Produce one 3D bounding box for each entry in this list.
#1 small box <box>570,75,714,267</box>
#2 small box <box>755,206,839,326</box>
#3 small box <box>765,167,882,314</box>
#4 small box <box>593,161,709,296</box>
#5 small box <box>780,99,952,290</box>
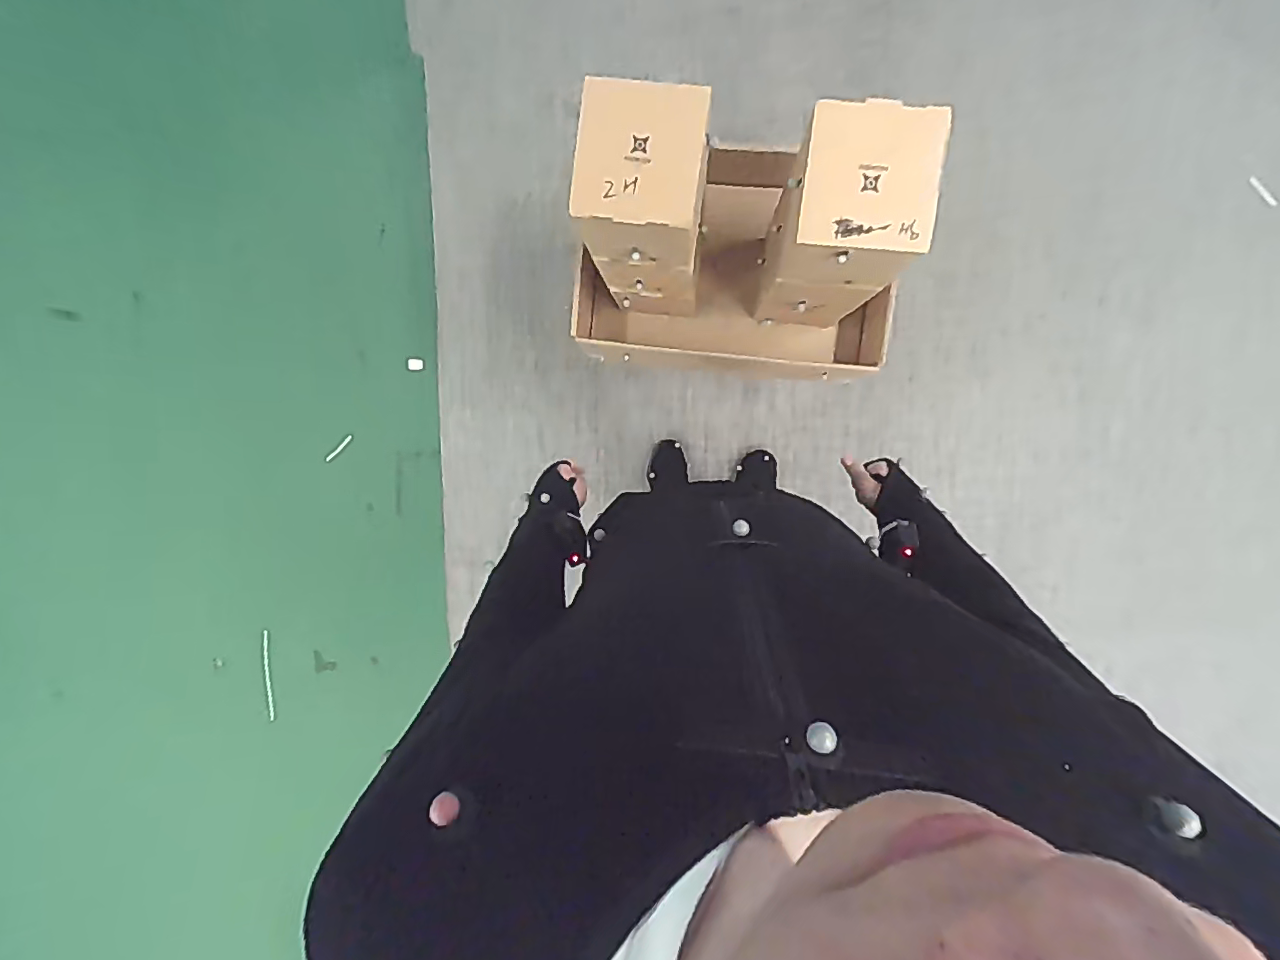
[{"bbox_3d":[0.007,-0.429,0.774,0.168,0.176,0.179,9,96,5],"label":"small box"},{"bbox_3d":[0.327,-0.413,1.074,0.168,0.176,0.179,8,95,4],"label":"small box"},{"bbox_3d":[0.312,-0.395,0.913,0.168,0.176,0.179,8,96,5],"label":"small box"},{"bbox_3d":[0.022,-0.438,0.938,0.168,0.176,0.179,8,96,5],"label":"small box"},{"bbox_3d":[0.297,-0.382,0.750,0.168,0.176,0.179,8,95,6],"label":"small box"}]
